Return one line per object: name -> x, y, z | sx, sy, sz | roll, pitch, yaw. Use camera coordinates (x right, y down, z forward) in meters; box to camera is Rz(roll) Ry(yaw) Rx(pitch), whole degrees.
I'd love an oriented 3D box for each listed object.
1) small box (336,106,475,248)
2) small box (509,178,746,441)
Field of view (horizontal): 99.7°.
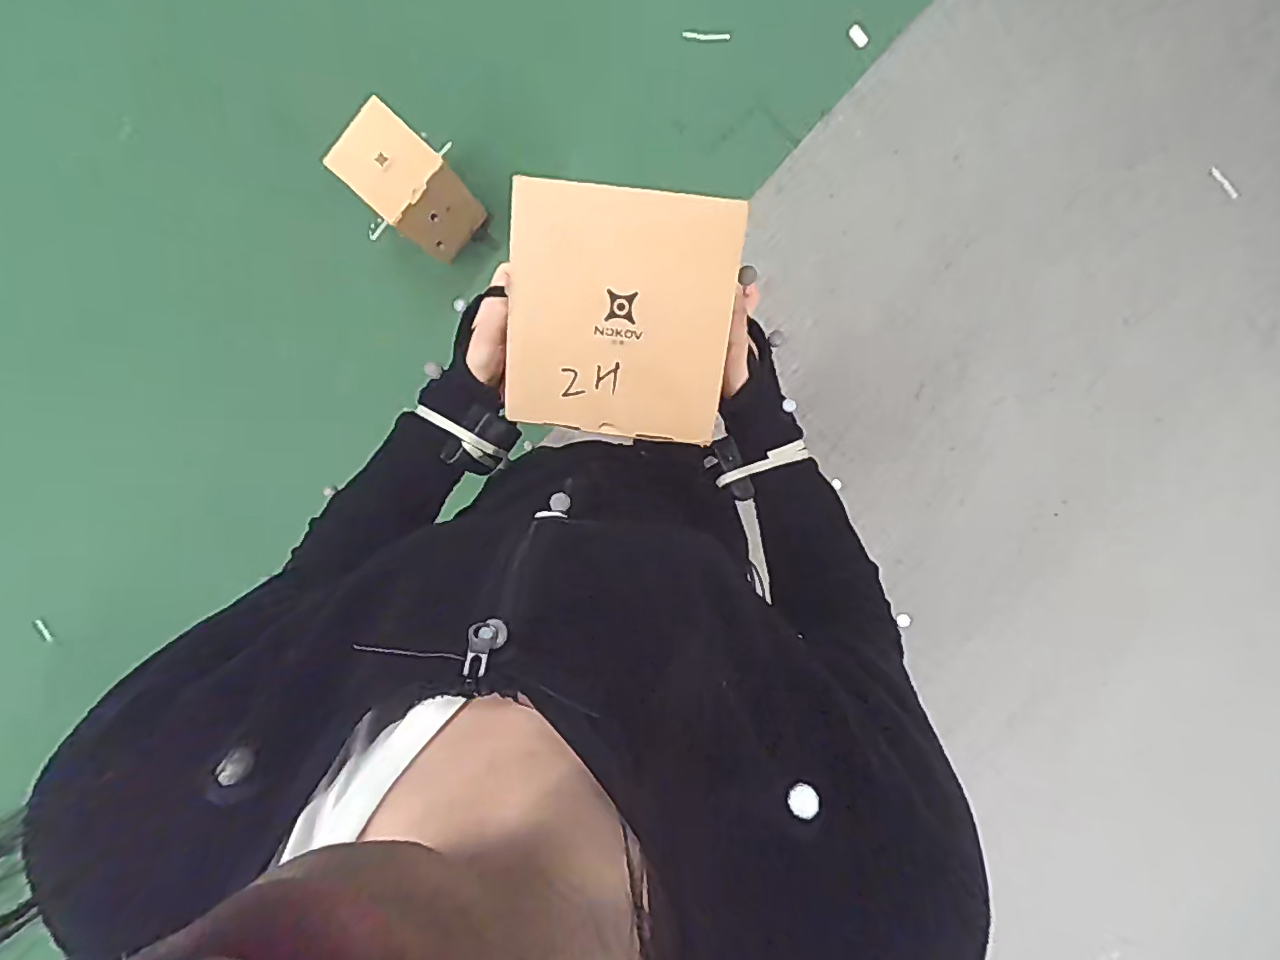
small box -> -0.486, -0.627, 1.147 | 0.179, 0.176, 0.168 | 42, 97, -6
small box -> -0.009, -0.145, 0.480 | 0.168, 0.176, 0.179 | 7, 108, 3
